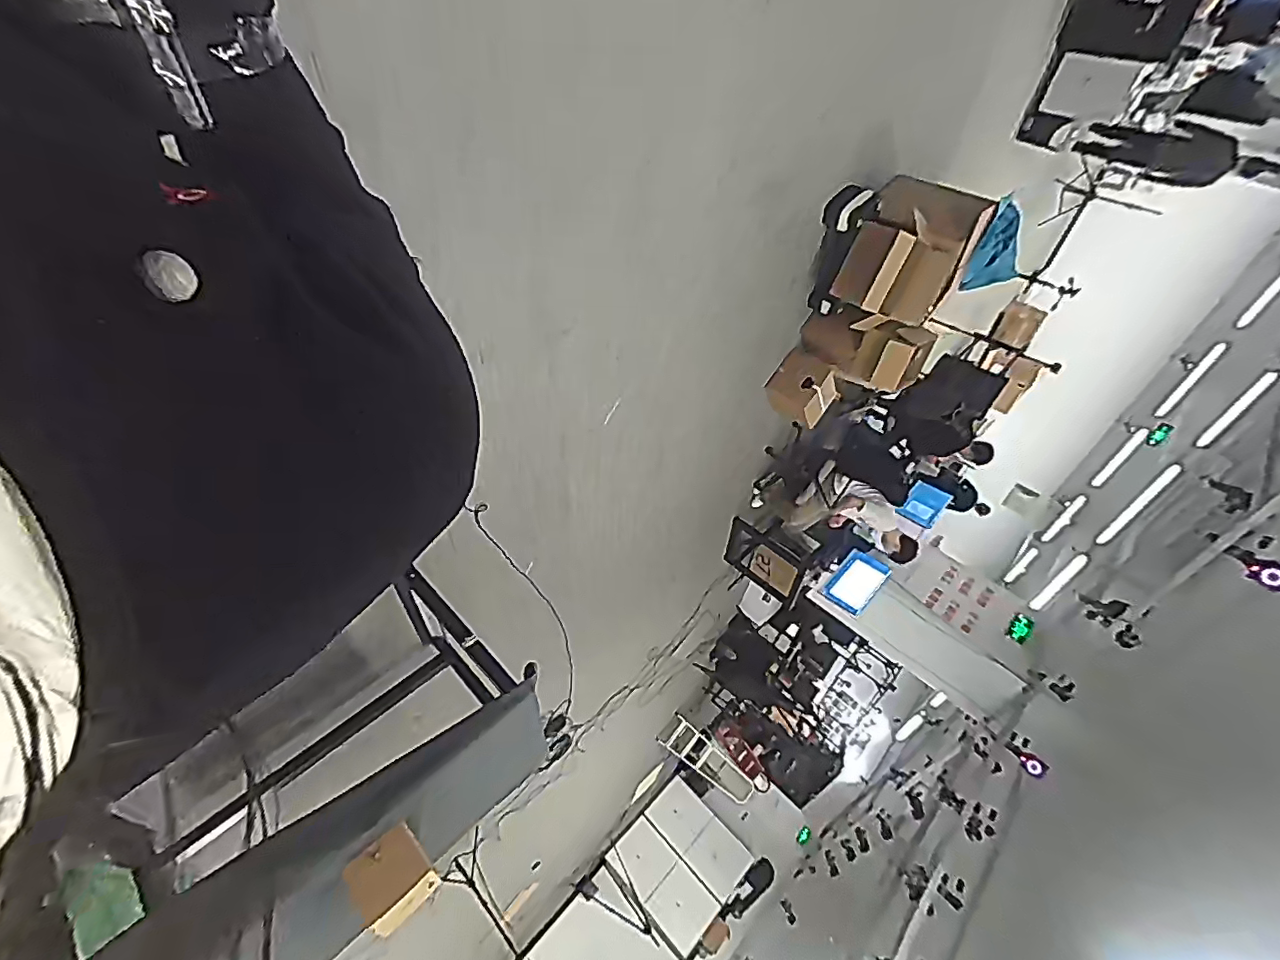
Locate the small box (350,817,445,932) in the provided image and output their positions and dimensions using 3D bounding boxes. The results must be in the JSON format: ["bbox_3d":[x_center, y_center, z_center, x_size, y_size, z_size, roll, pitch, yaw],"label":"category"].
[{"bbox_3d":[-0.671,1.081,1.489,0.179,0.176,0.168,-32,146,-34],"label":"small box"}]
